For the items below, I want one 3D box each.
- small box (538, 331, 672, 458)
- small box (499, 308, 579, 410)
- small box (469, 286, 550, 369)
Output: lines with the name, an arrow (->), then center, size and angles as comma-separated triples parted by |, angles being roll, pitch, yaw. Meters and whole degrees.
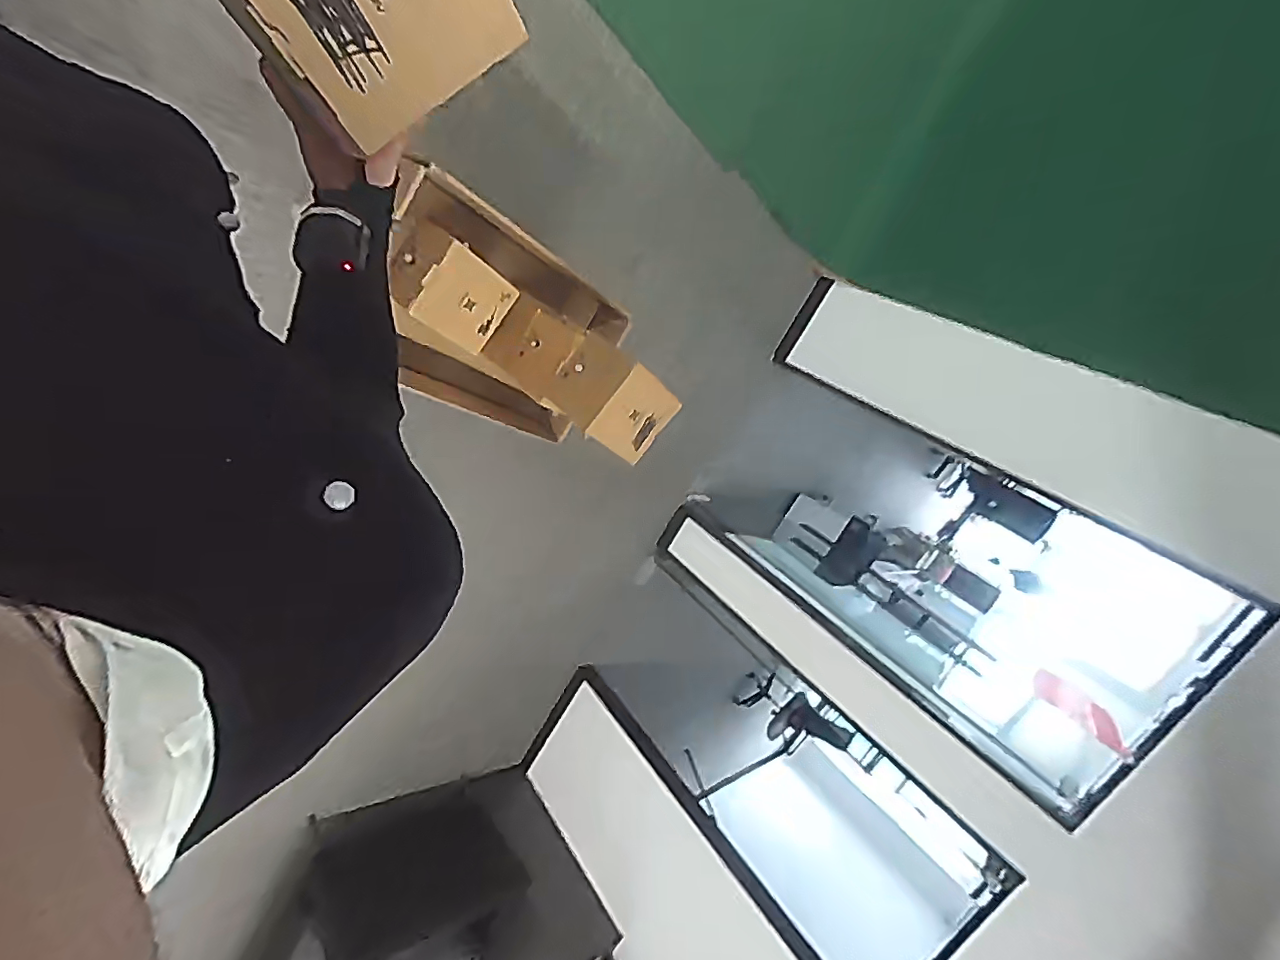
small box -> -0.073, -0.178, 1.115 | 0.168, 0.176, 0.179 | -52, 142, 3
small box -> -0.179, -0.260, 1.211 | 0.179, 0.176, 0.168 | 19, 107, -51
small box -> -0.277, -0.344, 1.310 | 0.179, 0.176, 0.168 | 20, 106, -51
